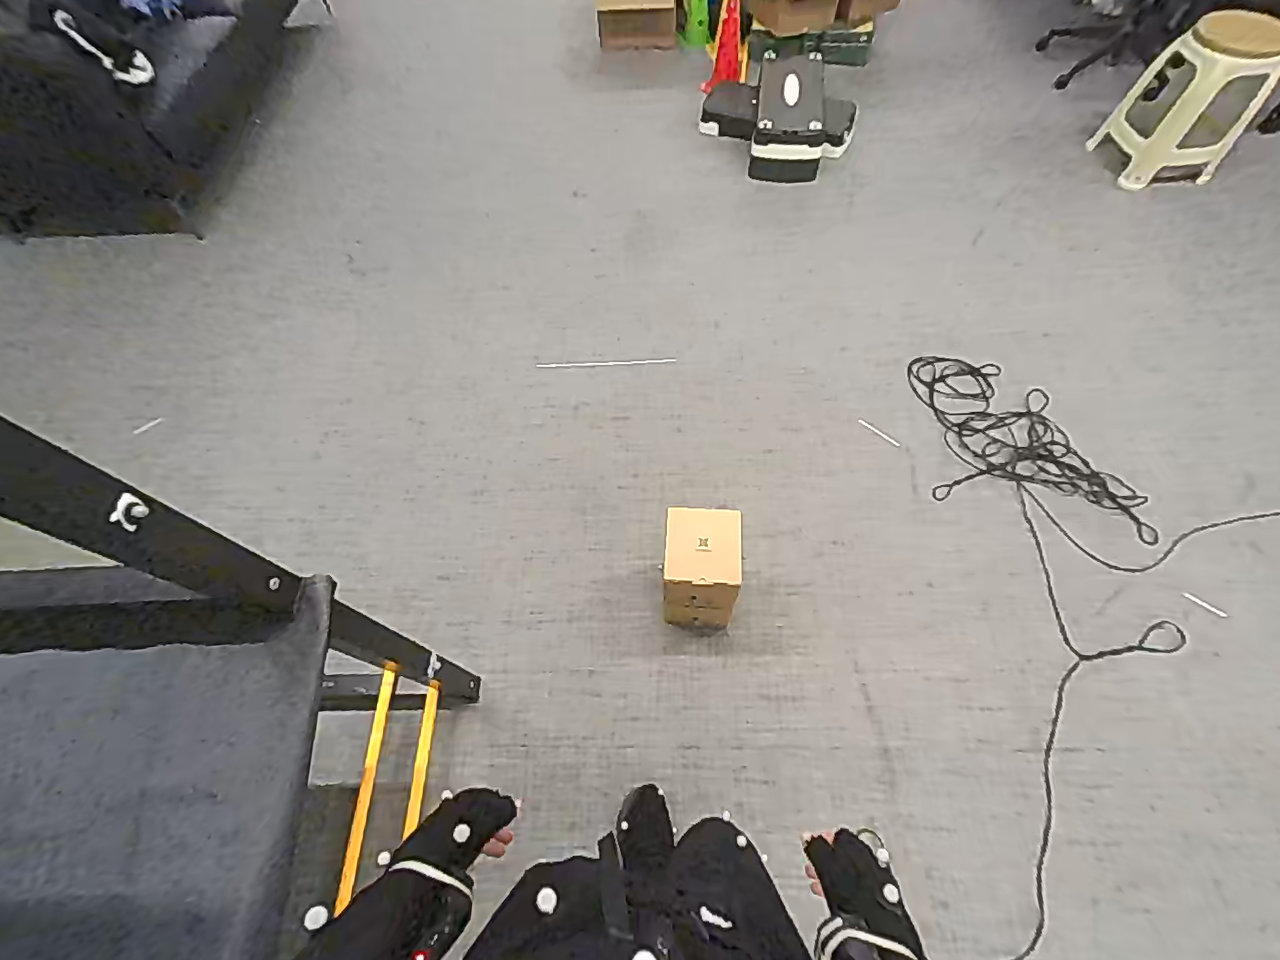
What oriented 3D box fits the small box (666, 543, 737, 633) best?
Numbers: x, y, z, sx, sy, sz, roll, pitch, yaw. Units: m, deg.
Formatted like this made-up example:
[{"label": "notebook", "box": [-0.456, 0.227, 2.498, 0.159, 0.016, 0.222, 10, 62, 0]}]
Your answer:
[{"label": "small box", "box": [0.156, 0.279, 1.386, 0.168, 0.176, 0.179, 3, 61, 6]}]
